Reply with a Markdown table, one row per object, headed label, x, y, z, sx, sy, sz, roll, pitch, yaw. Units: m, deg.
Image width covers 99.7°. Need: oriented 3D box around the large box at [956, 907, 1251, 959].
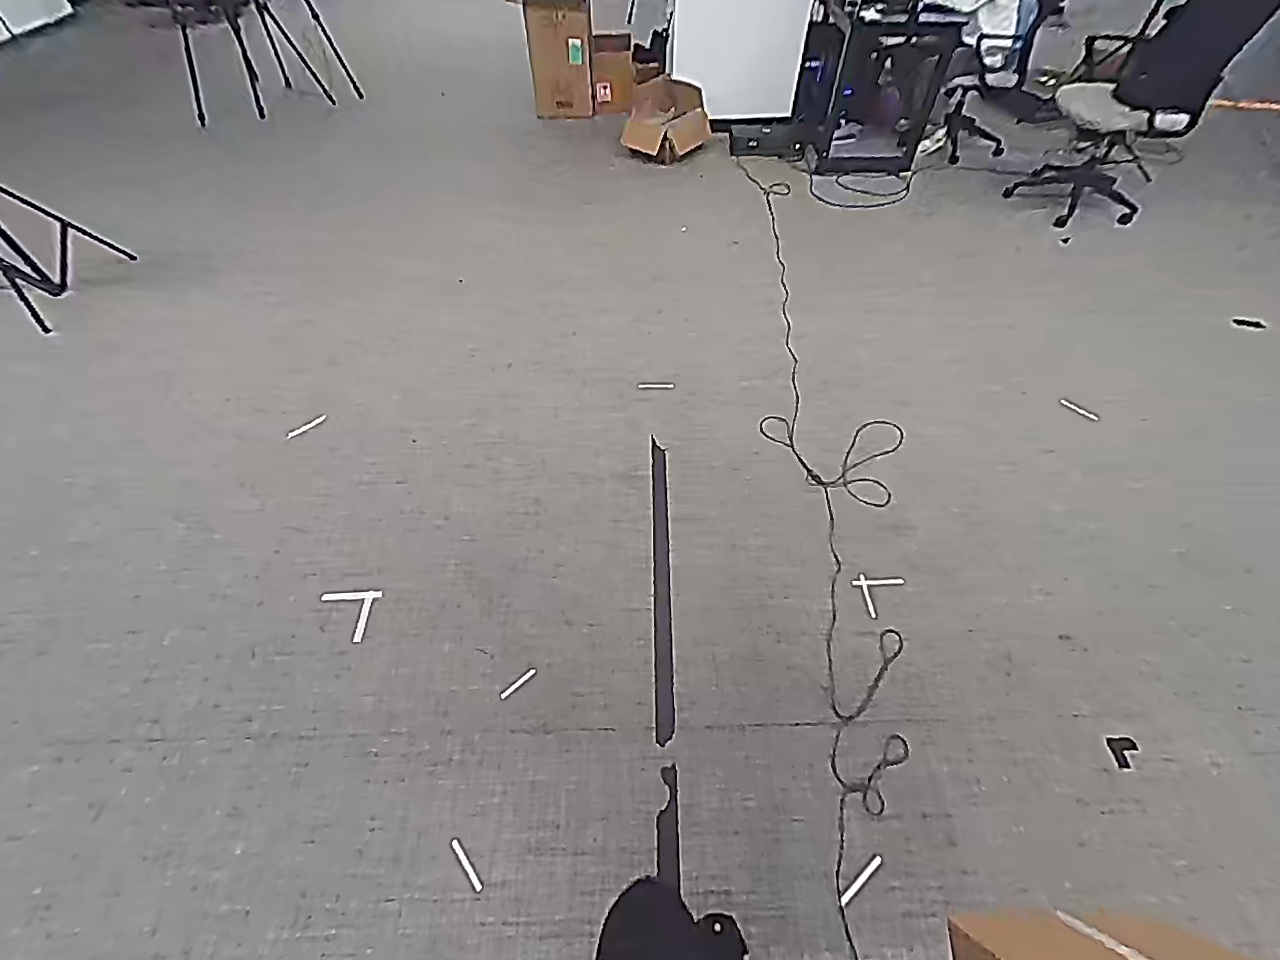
| label | x | y | z | sx | sy | sz | roll | pitch | yaw |
| --- | --- | --- | --- | --- | --- | --- | --- | --- | --- |
| large box | 0.600 | 0.703 | 0.543 | 0.320 | 0.408 | 0.320 | 1 | 72 | 0 |
